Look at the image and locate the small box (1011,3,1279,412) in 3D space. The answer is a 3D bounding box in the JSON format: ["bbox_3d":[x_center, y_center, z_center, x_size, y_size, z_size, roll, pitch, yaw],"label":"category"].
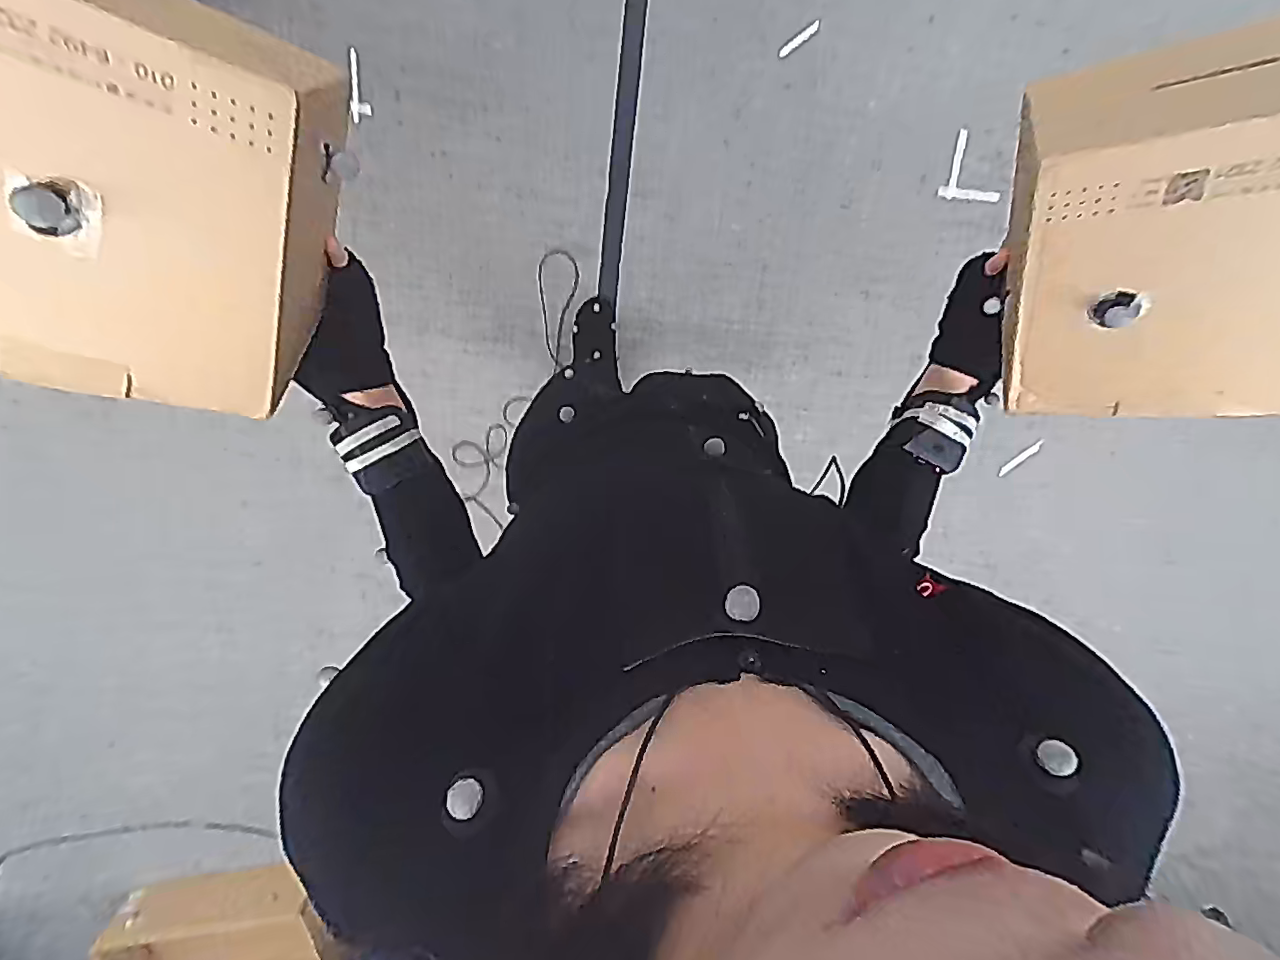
[{"bbox_3d":[0.330,-0.158,0.322,0.168,0.179,0.176,5,136,30],"label":"small box"}]

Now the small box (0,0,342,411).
[{"bbox_3d":[-0.262,-0.163,0.274,0.168,0.179,0.176,12,122,-27],"label":"small box"}]
